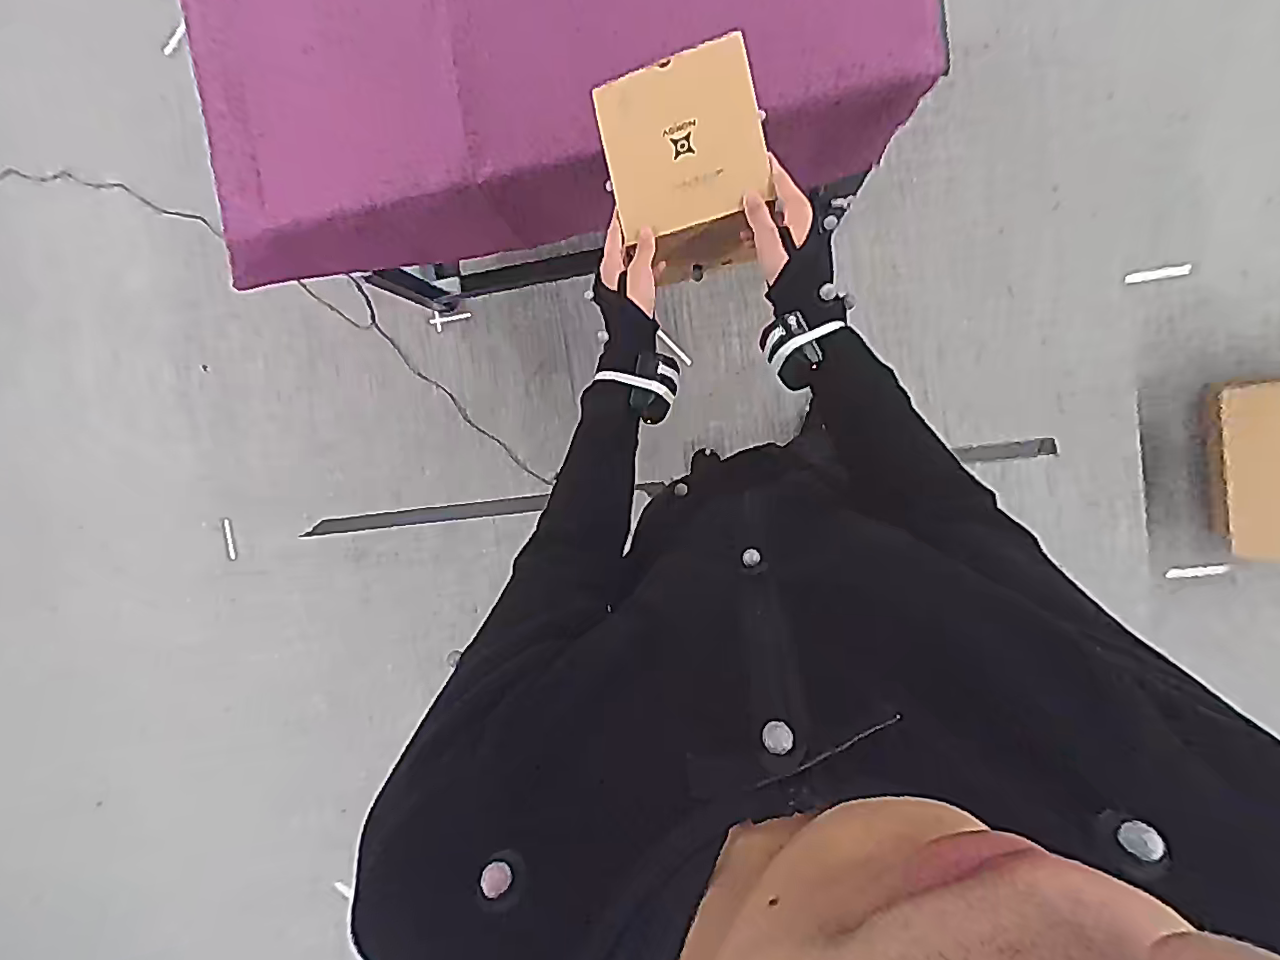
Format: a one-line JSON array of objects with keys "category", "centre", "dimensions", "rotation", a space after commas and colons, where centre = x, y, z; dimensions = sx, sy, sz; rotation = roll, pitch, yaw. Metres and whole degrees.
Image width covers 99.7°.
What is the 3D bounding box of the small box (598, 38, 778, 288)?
[{"category": "small box", "centre": [0.063, -0.355, 0.645], "dimensions": [0.168, 0.176, 0.179], "rotation": [-12, 90, 13]}]
